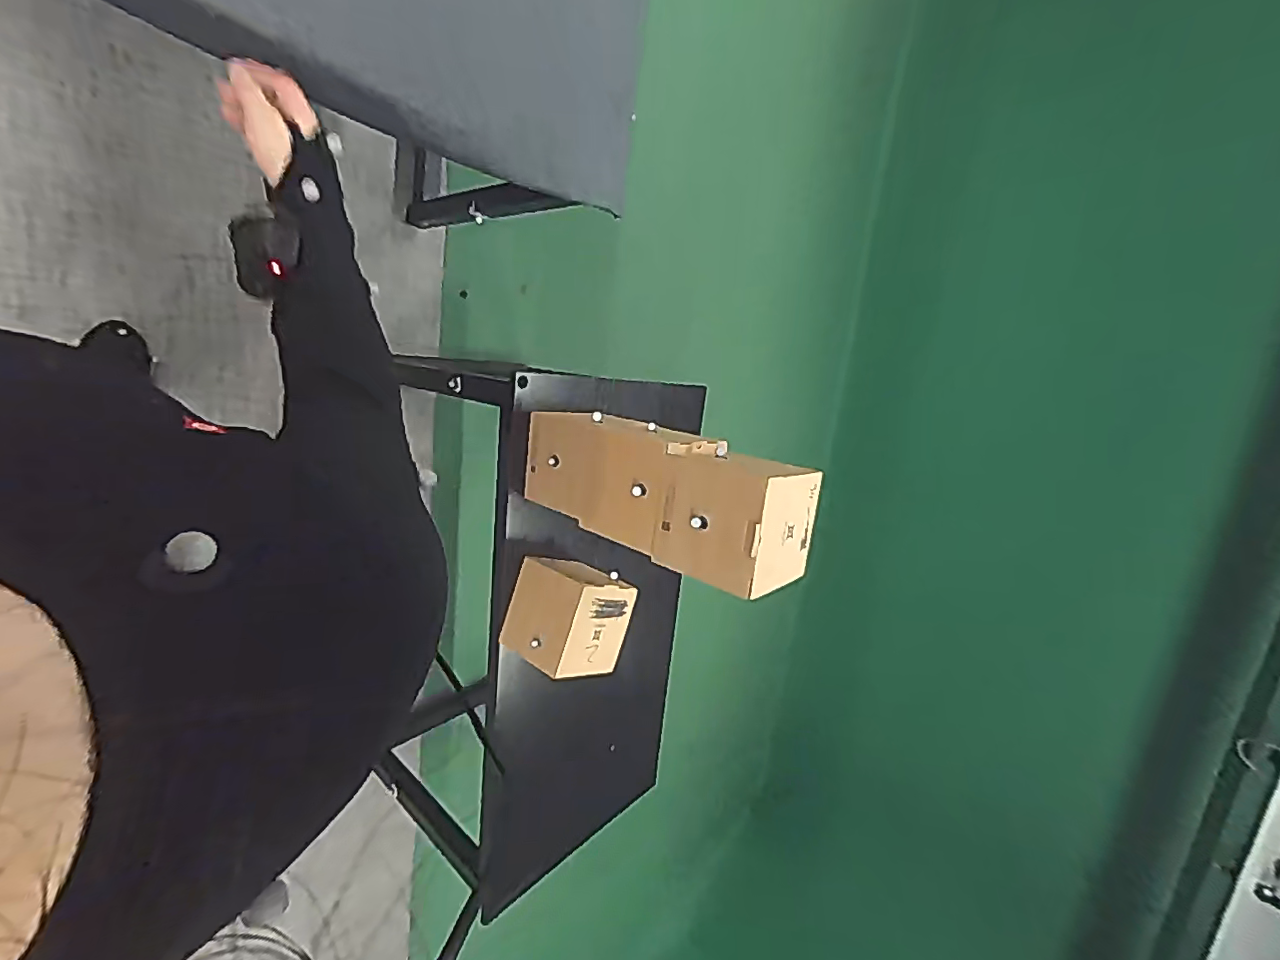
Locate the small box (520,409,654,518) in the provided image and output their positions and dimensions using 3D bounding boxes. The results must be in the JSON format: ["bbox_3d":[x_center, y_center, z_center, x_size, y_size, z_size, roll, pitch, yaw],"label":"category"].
[{"bbox_3d":[-0.102,-0.036,1.006,0.179,0.176,0.168,-7,109,-50],"label":"small box"}]

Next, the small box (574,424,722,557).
[{"bbox_3d":[0.009,0.009,0.895,0.168,0.176,0.179,-6,108,-49],"label":"small box"}]

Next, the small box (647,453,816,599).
[{"bbox_3d":[0.131,0.056,0.795,0.179,0.176,0.168,-4,106,-49],"label":"small box"}]
